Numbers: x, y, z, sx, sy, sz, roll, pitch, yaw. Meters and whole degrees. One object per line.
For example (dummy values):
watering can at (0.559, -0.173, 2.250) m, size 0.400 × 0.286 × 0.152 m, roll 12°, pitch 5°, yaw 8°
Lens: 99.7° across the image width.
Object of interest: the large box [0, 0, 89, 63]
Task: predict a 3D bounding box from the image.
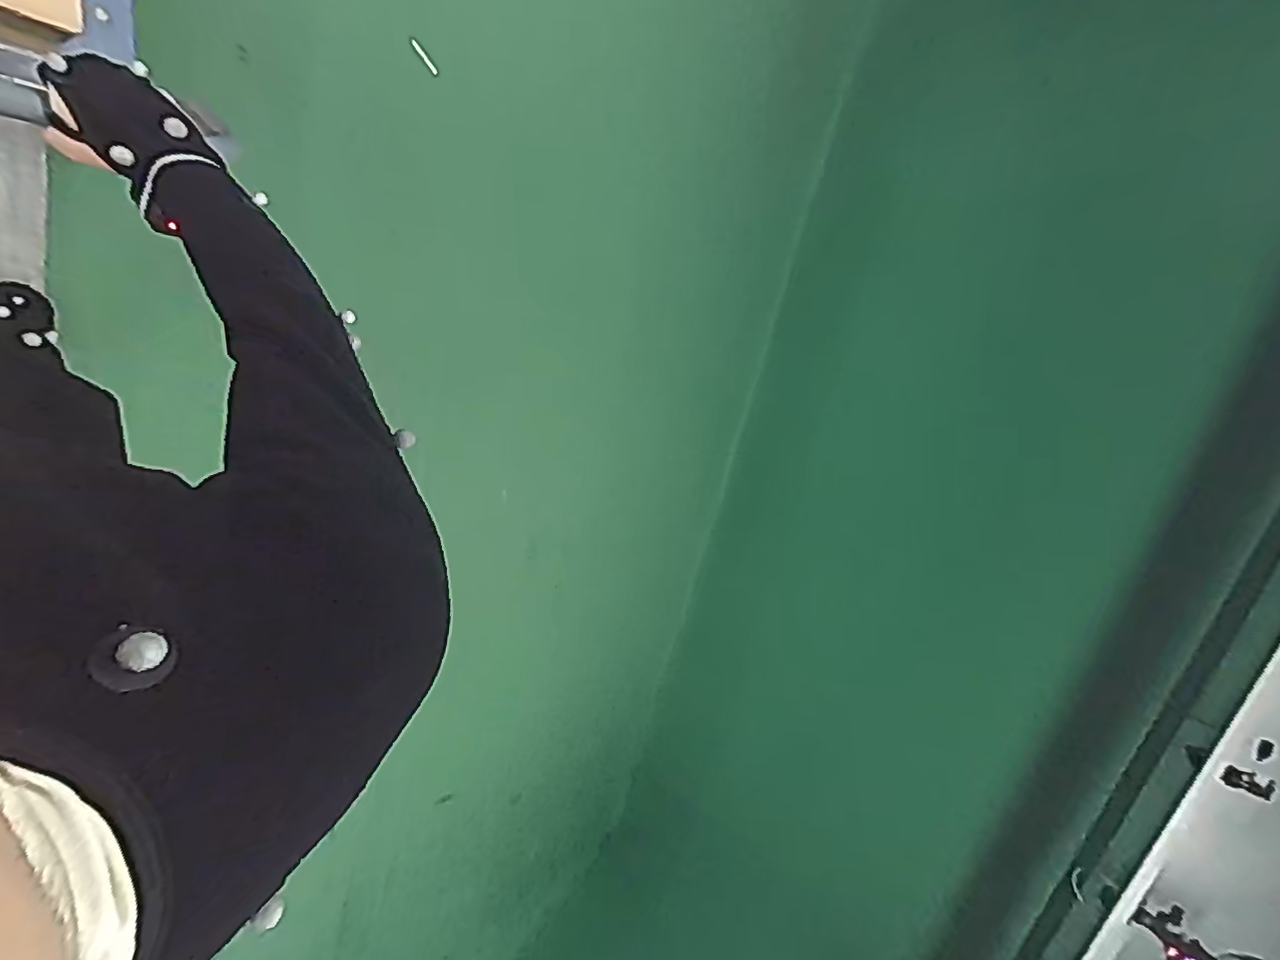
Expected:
large box at (-0.892, -0.779, 0.609) m, size 0.320 × 0.320 × 0.408 m, roll -13°, pitch 119°, yaw -51°
